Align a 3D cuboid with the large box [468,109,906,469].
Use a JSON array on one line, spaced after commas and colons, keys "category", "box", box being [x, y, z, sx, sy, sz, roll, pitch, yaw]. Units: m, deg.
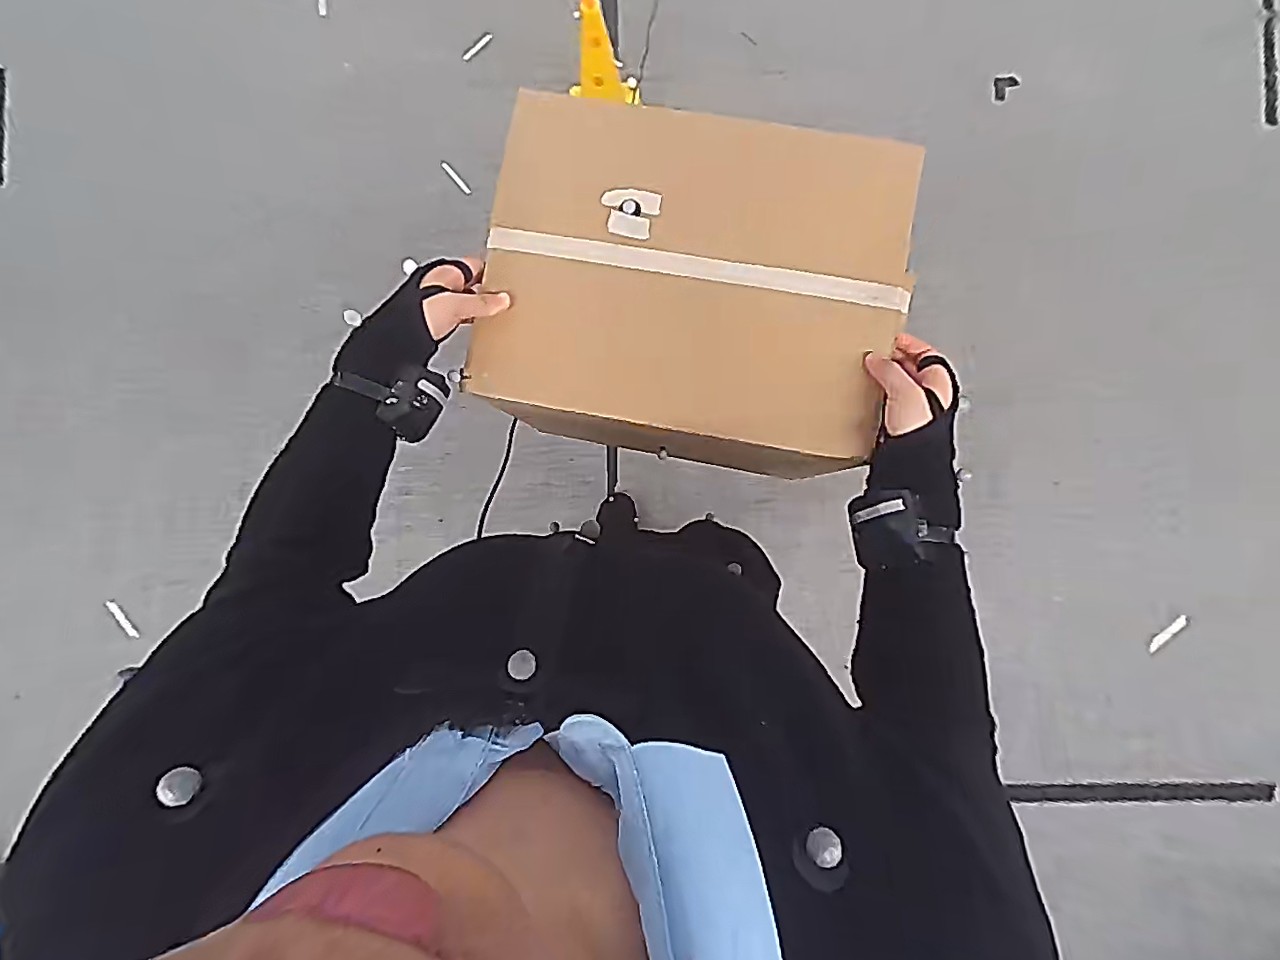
[{"category": "large box", "box": [0.056, -0.198, 0.685, 0.408, 0.320, 0.320, 10, 87, 5]}]
